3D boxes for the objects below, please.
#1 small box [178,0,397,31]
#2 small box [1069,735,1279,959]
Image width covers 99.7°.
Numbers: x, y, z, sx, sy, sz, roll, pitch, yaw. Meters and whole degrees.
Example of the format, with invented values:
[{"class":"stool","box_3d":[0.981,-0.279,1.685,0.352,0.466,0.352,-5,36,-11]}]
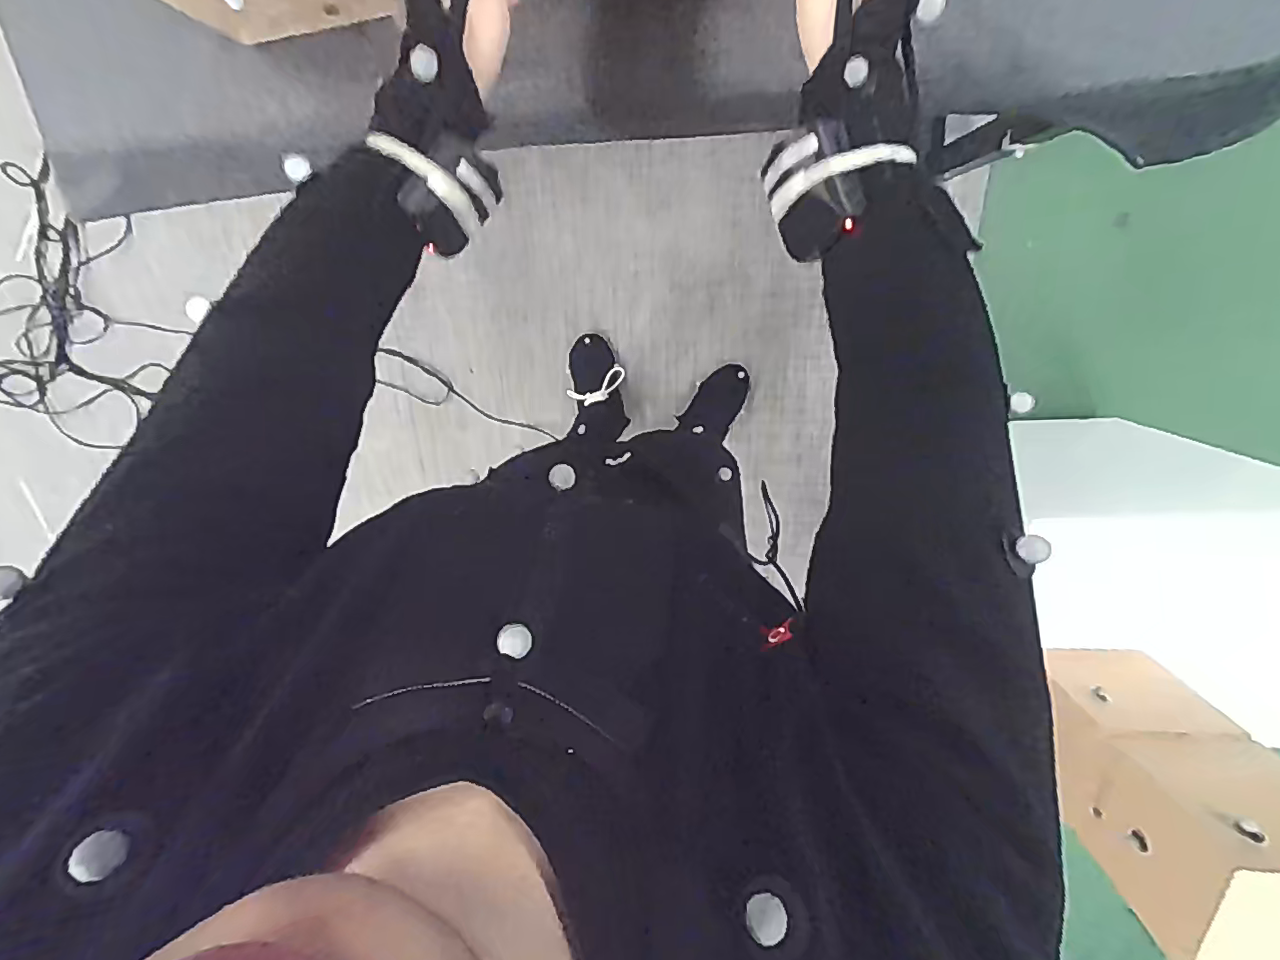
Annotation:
[{"class":"small box","box_3d":[-0.305,-0.466,0.392,0.168,0.176,0.179,-6,109,6]},{"class":"small box","box_3d":[0.644,0.415,0.614,0.179,0.176,0.168,0,109,3]}]
